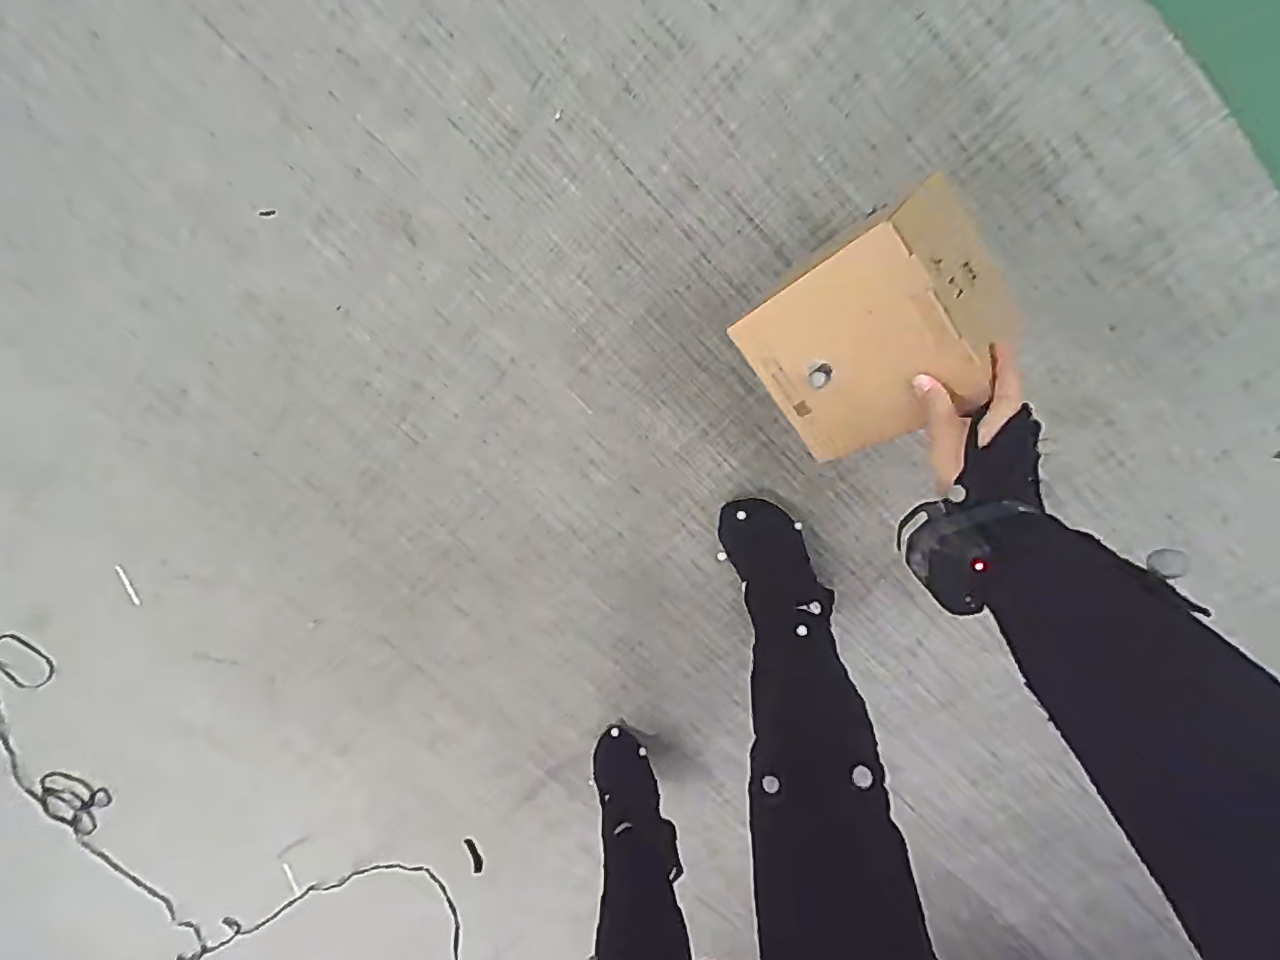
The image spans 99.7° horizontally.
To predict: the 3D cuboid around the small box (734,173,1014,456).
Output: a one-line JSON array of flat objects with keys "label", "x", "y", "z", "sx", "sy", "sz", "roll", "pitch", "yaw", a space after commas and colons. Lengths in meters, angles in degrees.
[{"label": "small box", "x": 0.221, "y": -0.151, "z": 0.522, "sx": 0.168, "sy": 0.179, "sz": 0.176, "roll": 52, "pitch": 142, "yaw": -10}]
